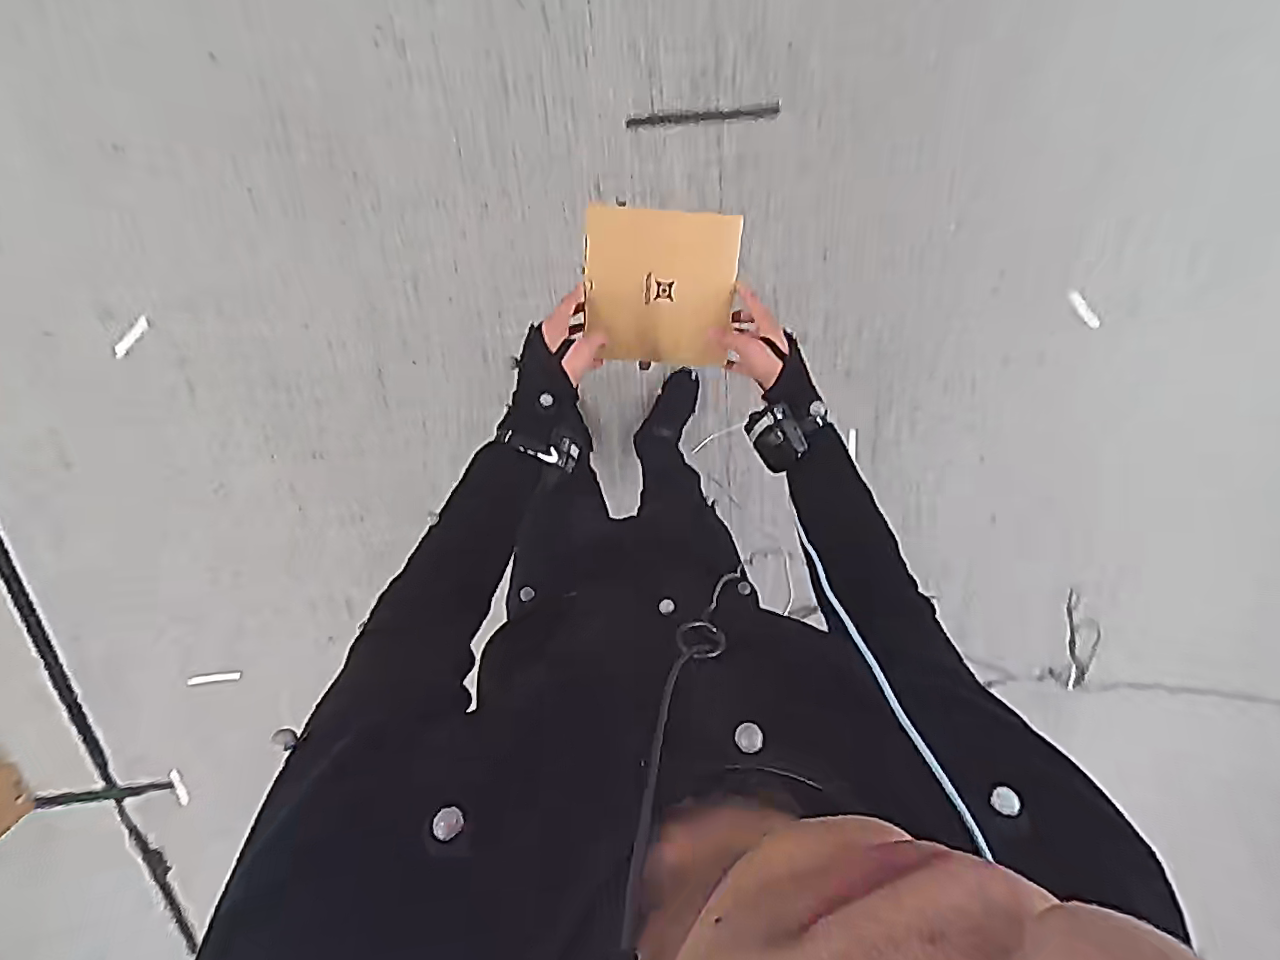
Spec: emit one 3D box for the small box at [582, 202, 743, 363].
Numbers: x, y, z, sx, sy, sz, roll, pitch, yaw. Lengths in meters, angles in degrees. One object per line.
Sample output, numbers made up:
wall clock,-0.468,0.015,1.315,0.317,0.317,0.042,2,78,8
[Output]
small box,0.017,-0.250,0.687,0.179,0.176,0.168,1,113,-5
